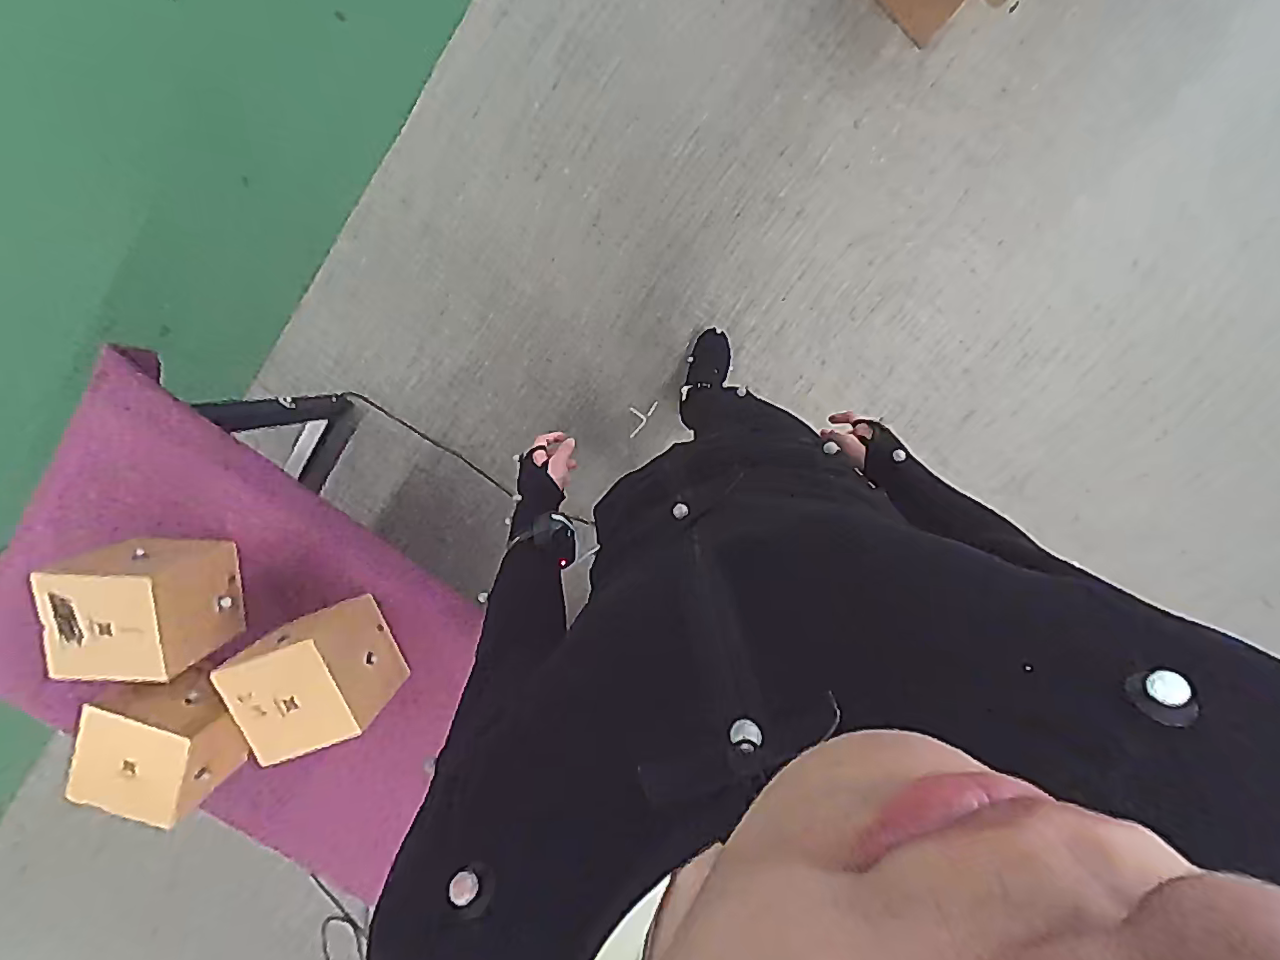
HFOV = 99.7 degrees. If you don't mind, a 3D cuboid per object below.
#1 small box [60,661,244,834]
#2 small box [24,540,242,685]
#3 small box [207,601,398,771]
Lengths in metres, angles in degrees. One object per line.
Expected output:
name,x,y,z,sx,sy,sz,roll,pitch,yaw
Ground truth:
small box,-0.780,0.428,0.896,0.168,0.176,0.179,20,101,-4
small box,-0.776,0.199,0.848,0.179,0.176,0.168,2,102,-1
small box,-0.518,0.317,0.865,0.179,0.176,0.168,-20,100,5
